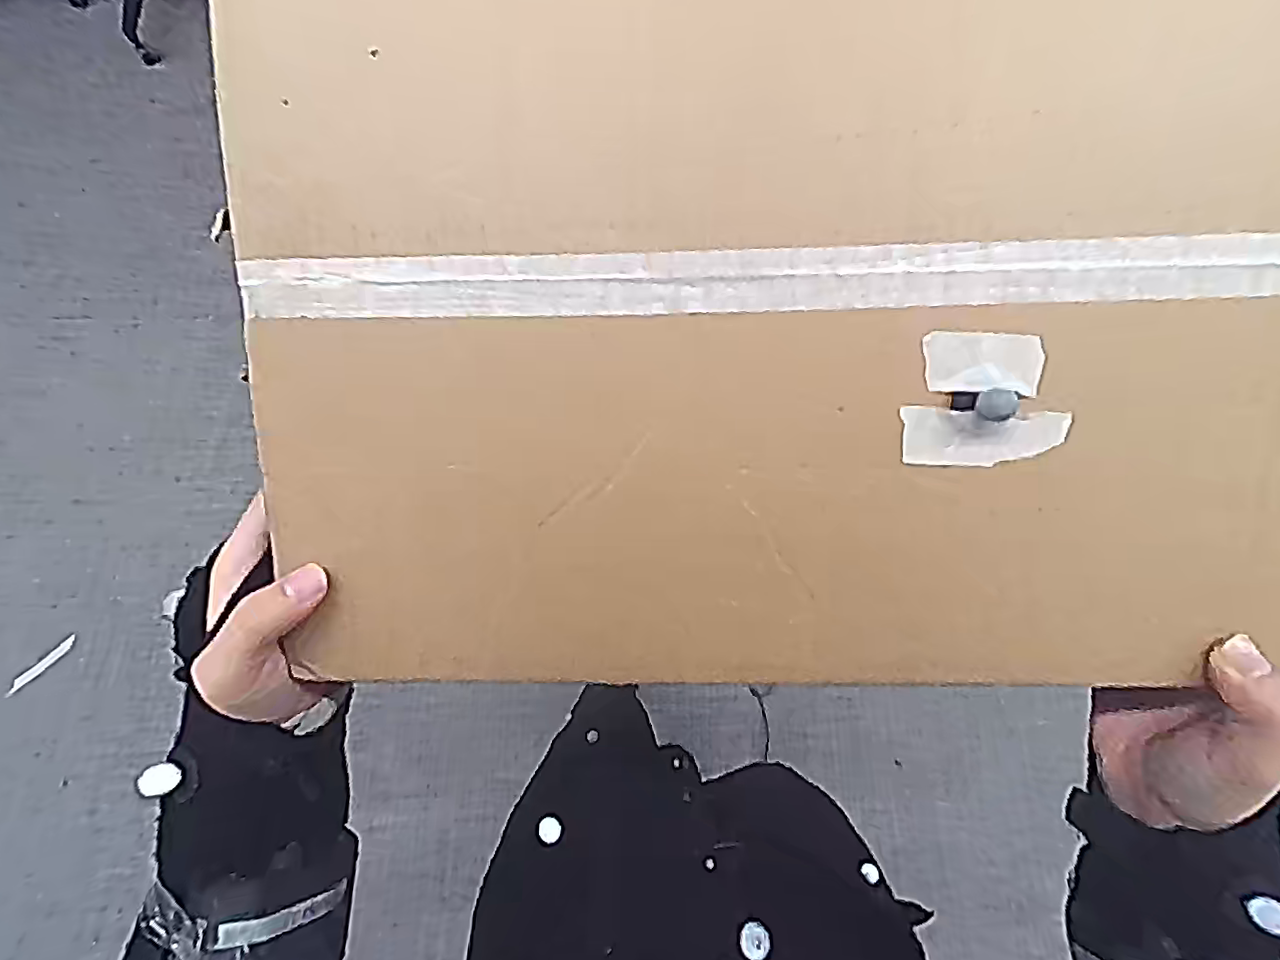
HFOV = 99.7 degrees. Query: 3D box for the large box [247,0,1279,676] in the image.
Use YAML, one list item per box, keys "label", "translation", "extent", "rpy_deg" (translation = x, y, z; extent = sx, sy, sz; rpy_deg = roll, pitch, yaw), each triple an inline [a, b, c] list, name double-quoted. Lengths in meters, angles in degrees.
- label: "large box"
  translation: [0.057, -0.092, 0.356]
  extent: [0.408, 0.320, 0.320]
  rpy_deg: [-1, 98, 1]
